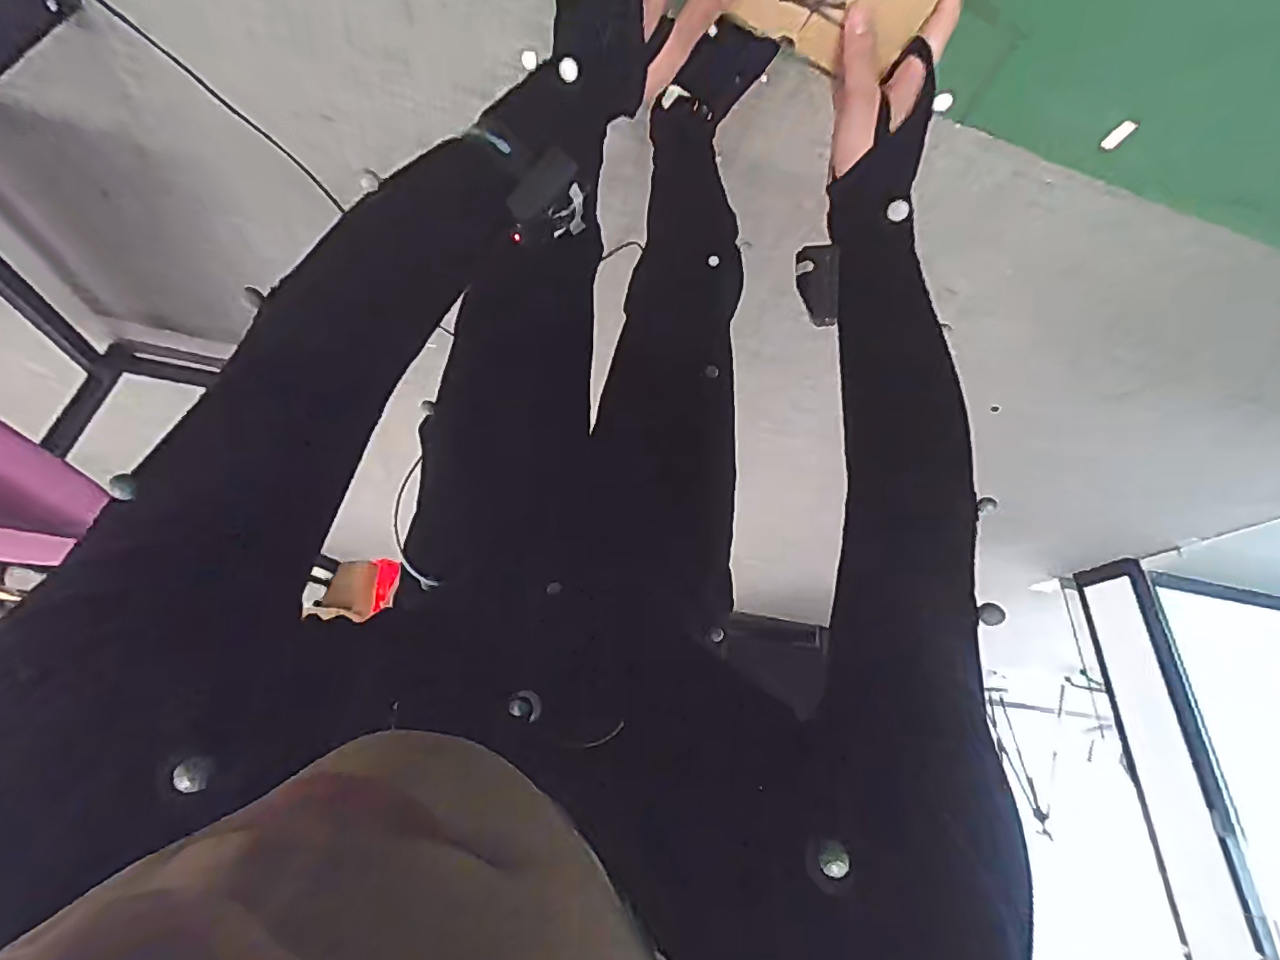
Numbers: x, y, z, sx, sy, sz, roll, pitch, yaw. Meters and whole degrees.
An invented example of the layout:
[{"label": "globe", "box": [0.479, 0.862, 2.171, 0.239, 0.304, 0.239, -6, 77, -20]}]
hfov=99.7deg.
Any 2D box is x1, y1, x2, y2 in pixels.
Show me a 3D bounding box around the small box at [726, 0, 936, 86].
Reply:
[{"label": "small box", "box": [0.147, -0.437, 0.374, 0.168, 0.176, 0.179, 14, 147, -19]}]
